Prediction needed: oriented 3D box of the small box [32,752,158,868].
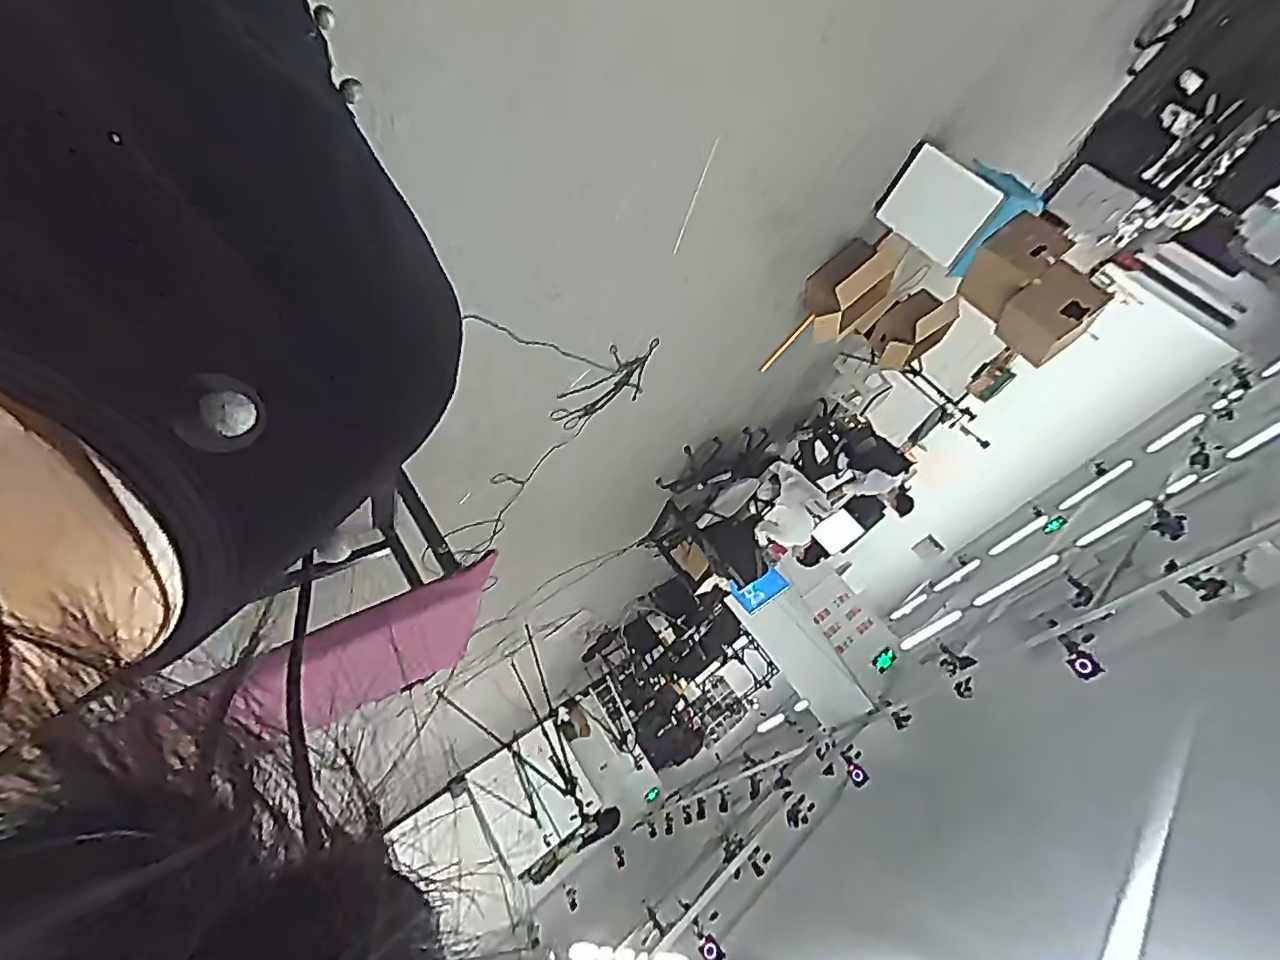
[{"bbox_3d":[-1.320,0.803,1.315,0.179,0.176,0.168,-25,155,-34],"label":"small box"}]
